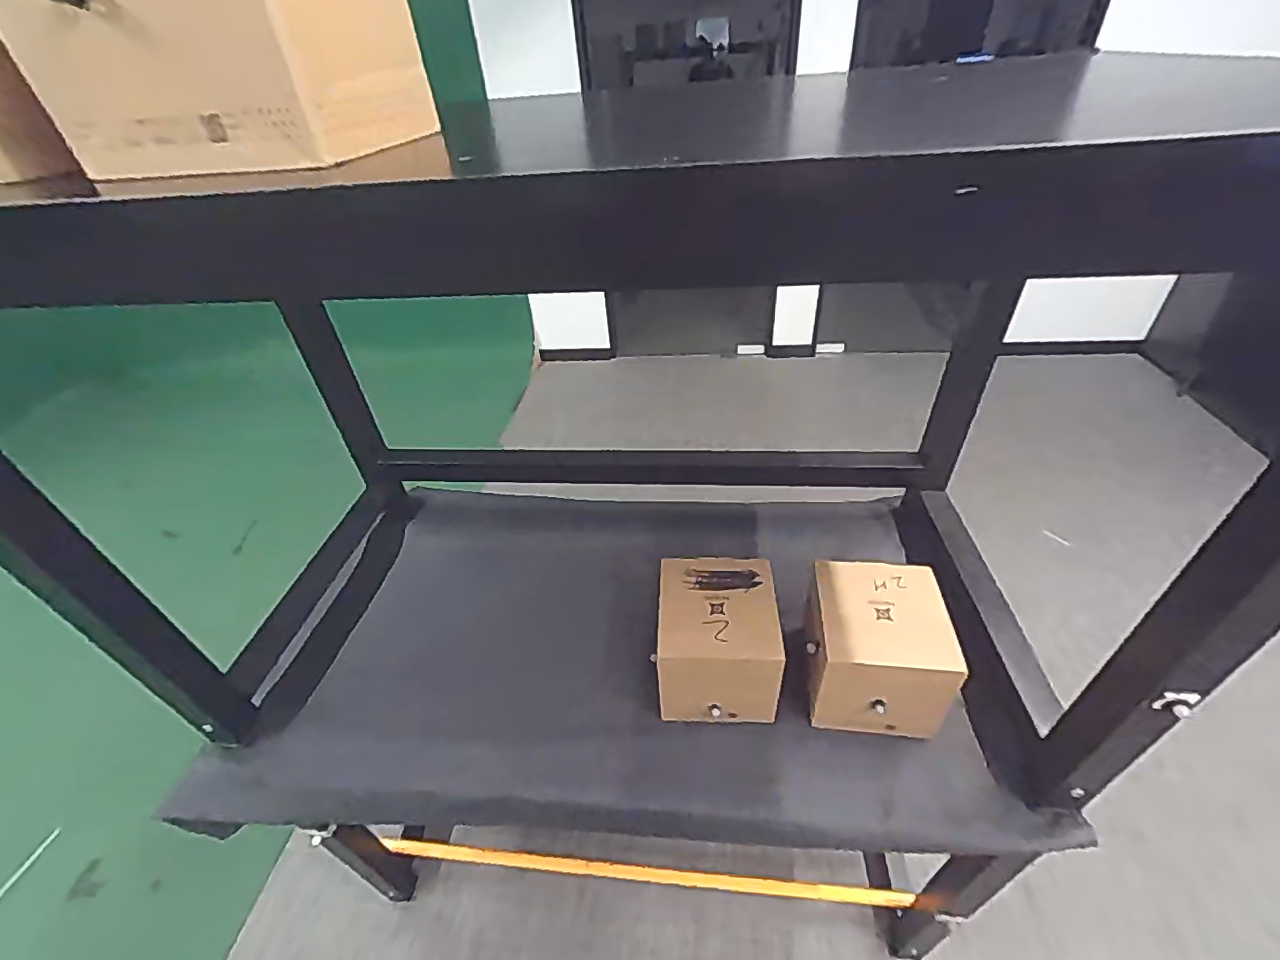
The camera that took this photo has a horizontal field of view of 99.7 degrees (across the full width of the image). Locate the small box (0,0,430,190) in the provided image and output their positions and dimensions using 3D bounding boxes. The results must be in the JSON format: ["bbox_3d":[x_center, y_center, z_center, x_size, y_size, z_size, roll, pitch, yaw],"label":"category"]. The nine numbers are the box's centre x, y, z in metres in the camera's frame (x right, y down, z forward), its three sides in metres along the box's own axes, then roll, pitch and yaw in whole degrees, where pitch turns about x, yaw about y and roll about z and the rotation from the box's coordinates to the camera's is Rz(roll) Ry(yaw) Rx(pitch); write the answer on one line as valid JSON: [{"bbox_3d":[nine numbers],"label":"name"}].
[{"bbox_3d":[-0.266,-0.299,0.358,0.168,0.176,0.179,1,38,8],"label":"small box"}]
